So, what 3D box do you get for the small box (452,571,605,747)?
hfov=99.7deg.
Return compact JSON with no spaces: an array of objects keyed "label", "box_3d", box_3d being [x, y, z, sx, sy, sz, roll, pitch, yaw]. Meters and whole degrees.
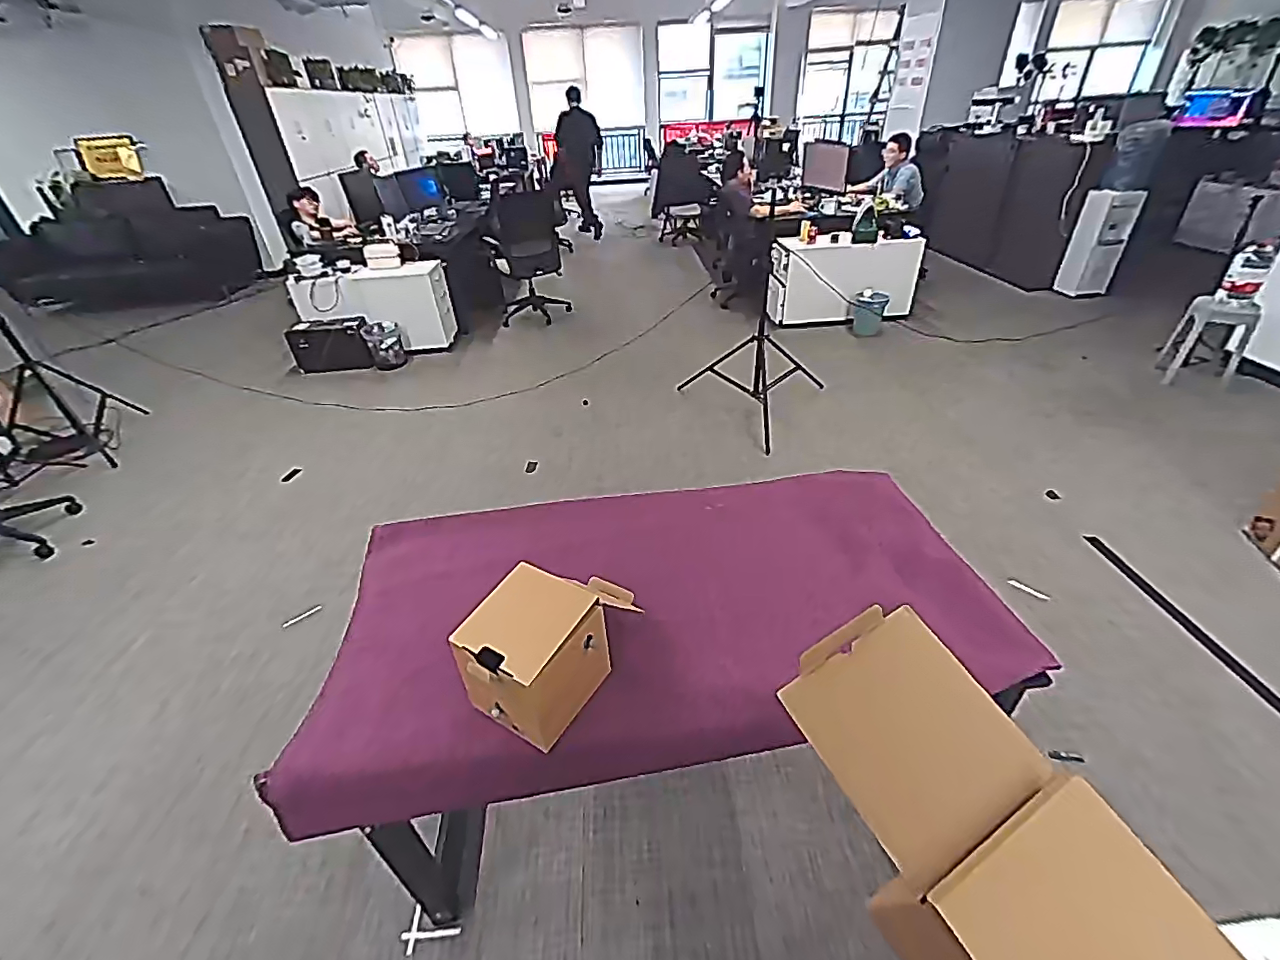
[{"label":"small box","box_3d":[-0.169,0.284,0.876,0.168,0.176,0.179,16,39,29]}]
